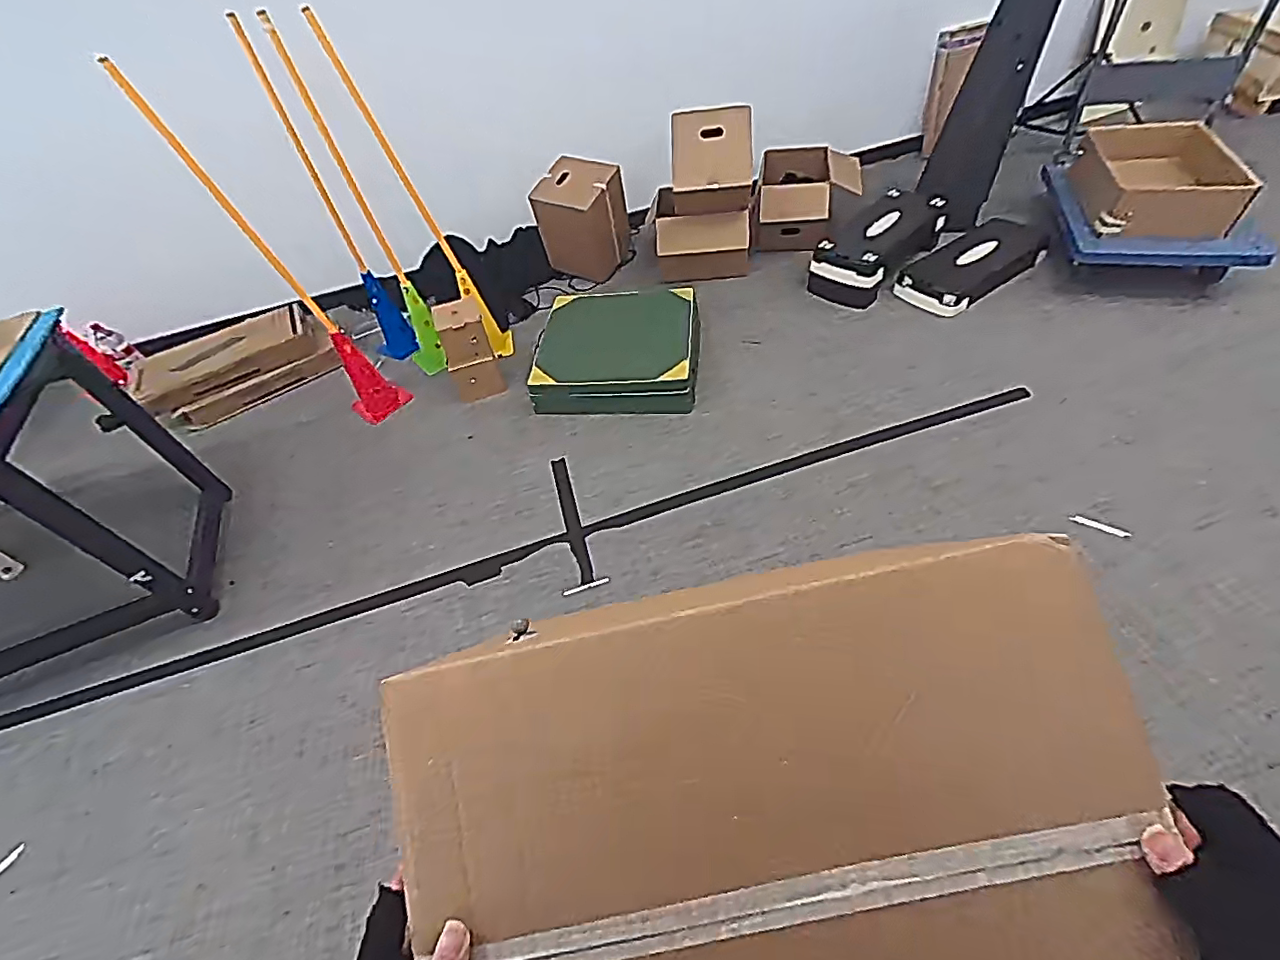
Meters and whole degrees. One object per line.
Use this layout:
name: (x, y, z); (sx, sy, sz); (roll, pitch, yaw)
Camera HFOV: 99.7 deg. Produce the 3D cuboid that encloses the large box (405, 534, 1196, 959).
large box: (0.089, 0.251, 0.446); (0.408, 0.320, 0.320); (-14, 80, 3)
